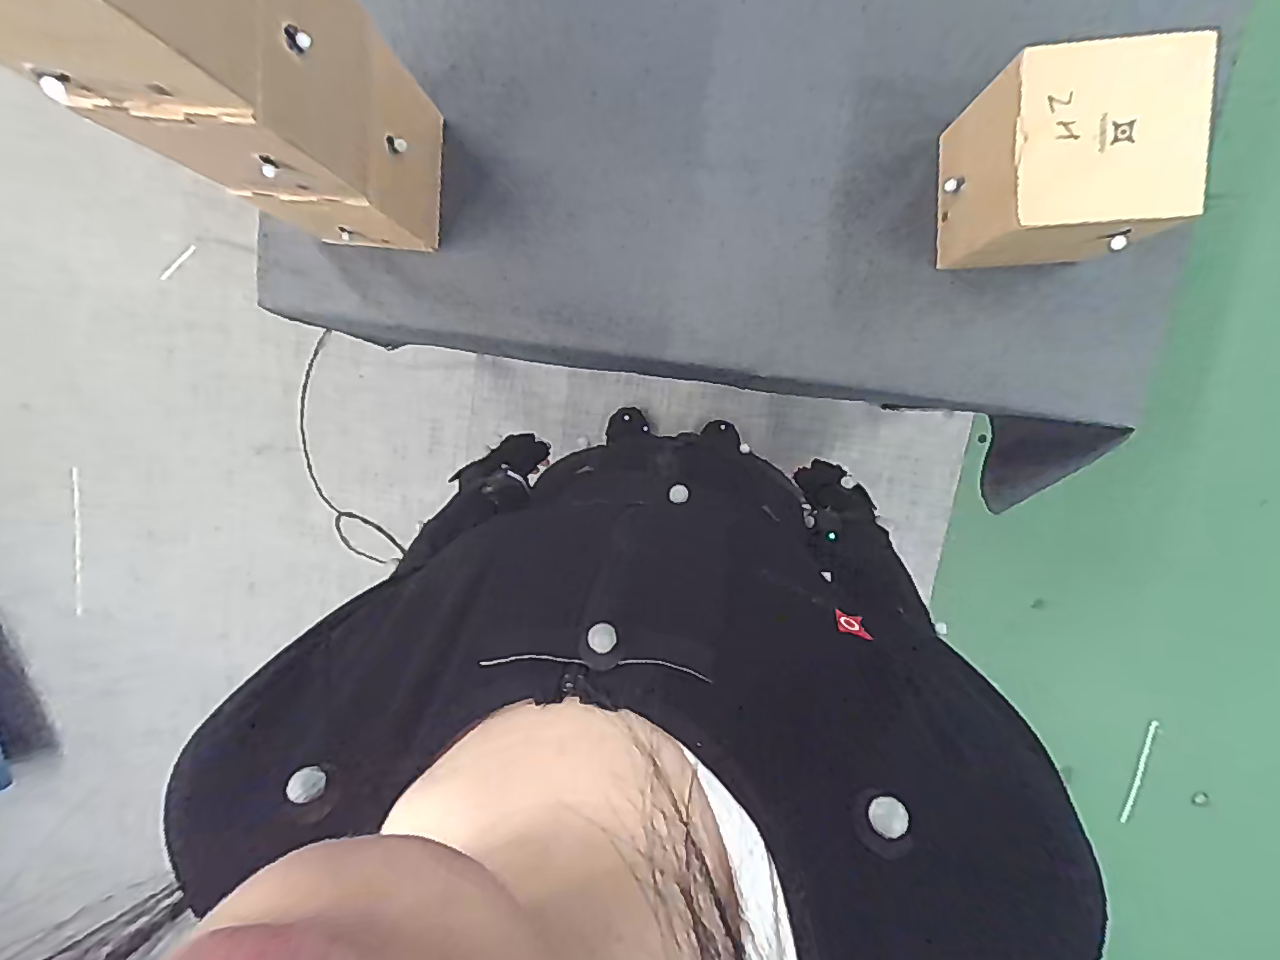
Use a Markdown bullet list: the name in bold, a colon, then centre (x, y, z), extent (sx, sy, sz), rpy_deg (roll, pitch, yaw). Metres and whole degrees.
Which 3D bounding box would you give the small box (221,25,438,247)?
- **small box**: centre (-0.356, -0.400, 0.647), extent (0.168, 0.176, 0.179), rpy_deg (6, 98, 3)

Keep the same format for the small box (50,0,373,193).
- **small box**: centre (-0.363, -0.382, 0.485), extent (0.168, 0.176, 0.179), rpy_deg (7, 98, 2)

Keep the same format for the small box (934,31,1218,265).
- **small box**: centre (0.456, -0.345, 0.596), extent (0.179, 0.176, 0.168), rpy_deg (-2, 97, 5)

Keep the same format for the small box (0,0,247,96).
- **small box**: centre (-0.372, -0.367, 0.322), extent (0.168, 0.176, 0.179), rpy_deg (5, 98, 1)
